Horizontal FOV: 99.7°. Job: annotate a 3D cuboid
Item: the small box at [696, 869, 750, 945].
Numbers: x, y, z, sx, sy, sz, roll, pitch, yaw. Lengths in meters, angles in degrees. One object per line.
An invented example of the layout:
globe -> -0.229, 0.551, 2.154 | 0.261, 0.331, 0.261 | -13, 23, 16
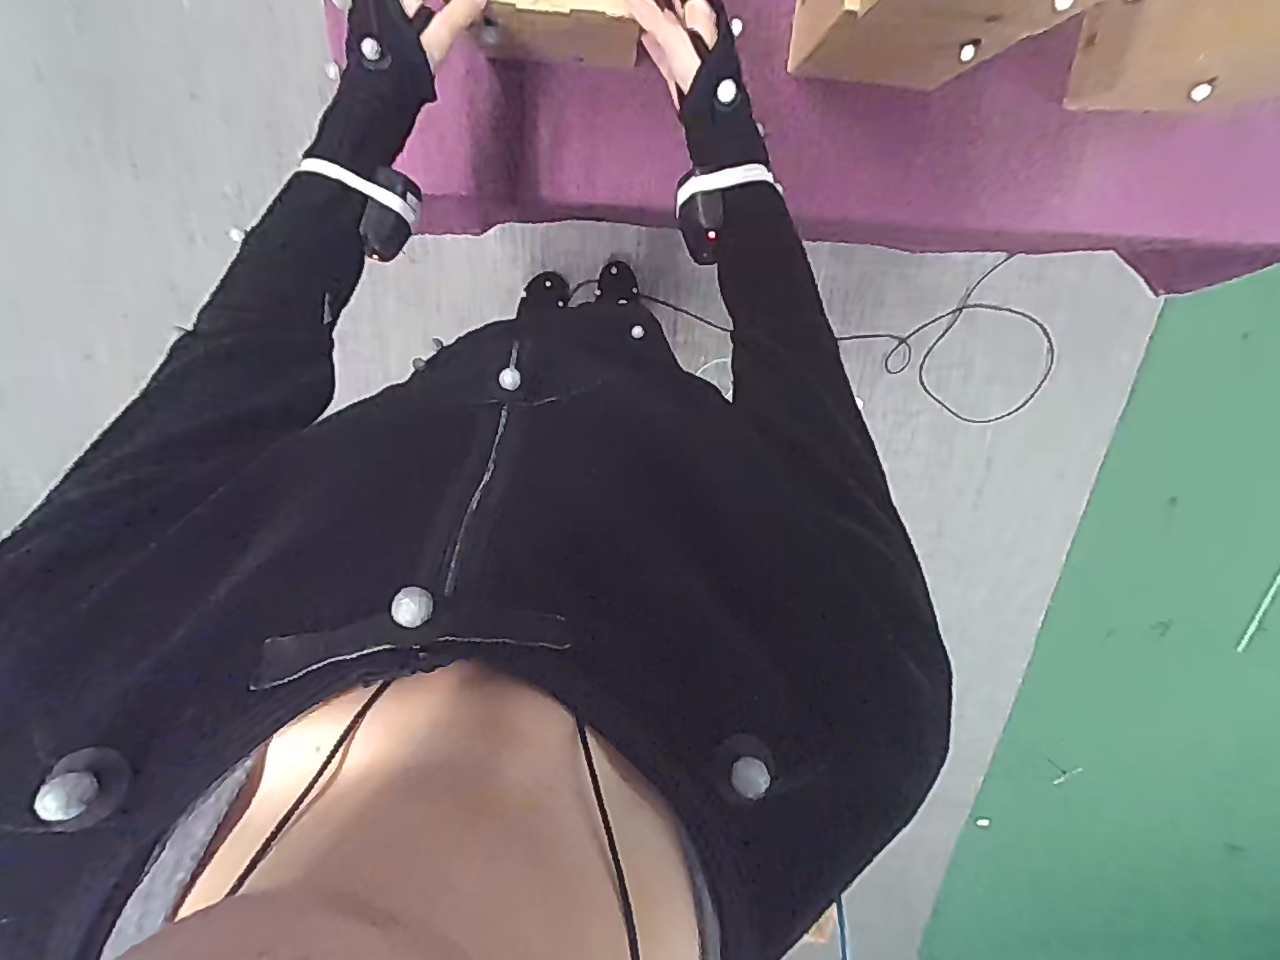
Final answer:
small box -> 0.312, 1.636, 2.074 | 0.168, 0.176, 0.179 | 3, 110, -5

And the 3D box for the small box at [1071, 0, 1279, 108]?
small box -> 0.584, -0.485, 0.532 | 0.179, 0.176, 0.168 | 0, 111, -2

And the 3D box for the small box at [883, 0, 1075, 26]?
small box -> 0.274, -0.444, 0.360 | 0.168, 0.176, 0.179 | 1, 110, -5

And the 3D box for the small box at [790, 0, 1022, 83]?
small box -> 0.258, -0.503, 0.511 | 0.179, 0.176, 0.168 | 2, 111, -5
